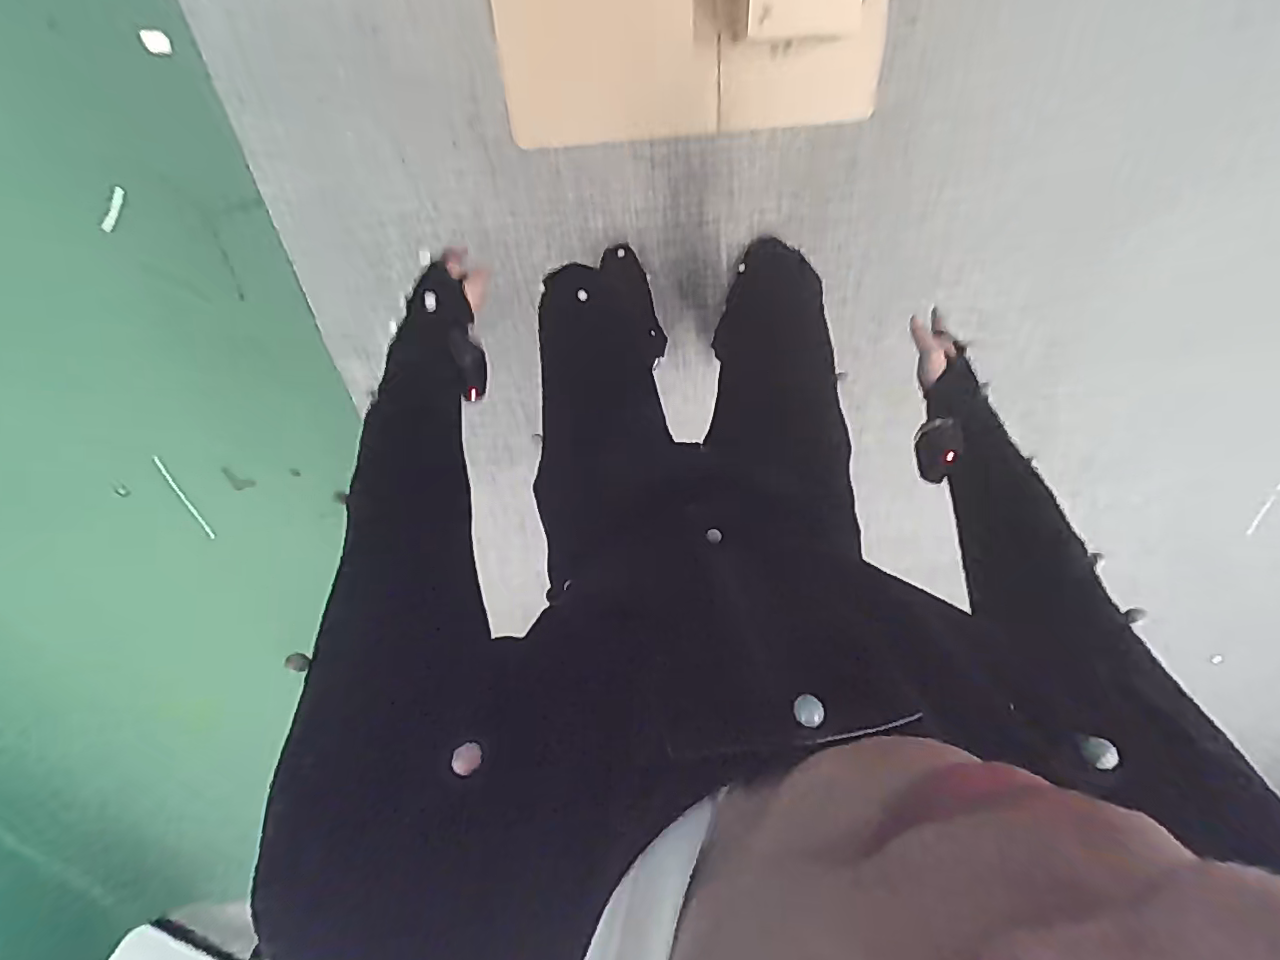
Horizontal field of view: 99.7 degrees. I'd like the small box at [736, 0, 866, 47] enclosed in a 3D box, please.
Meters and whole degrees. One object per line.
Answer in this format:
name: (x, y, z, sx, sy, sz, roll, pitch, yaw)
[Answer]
small box: (0.256, -0.803, 0.860, 0.179, 0.176, 0.168, 0, 125, 2)
